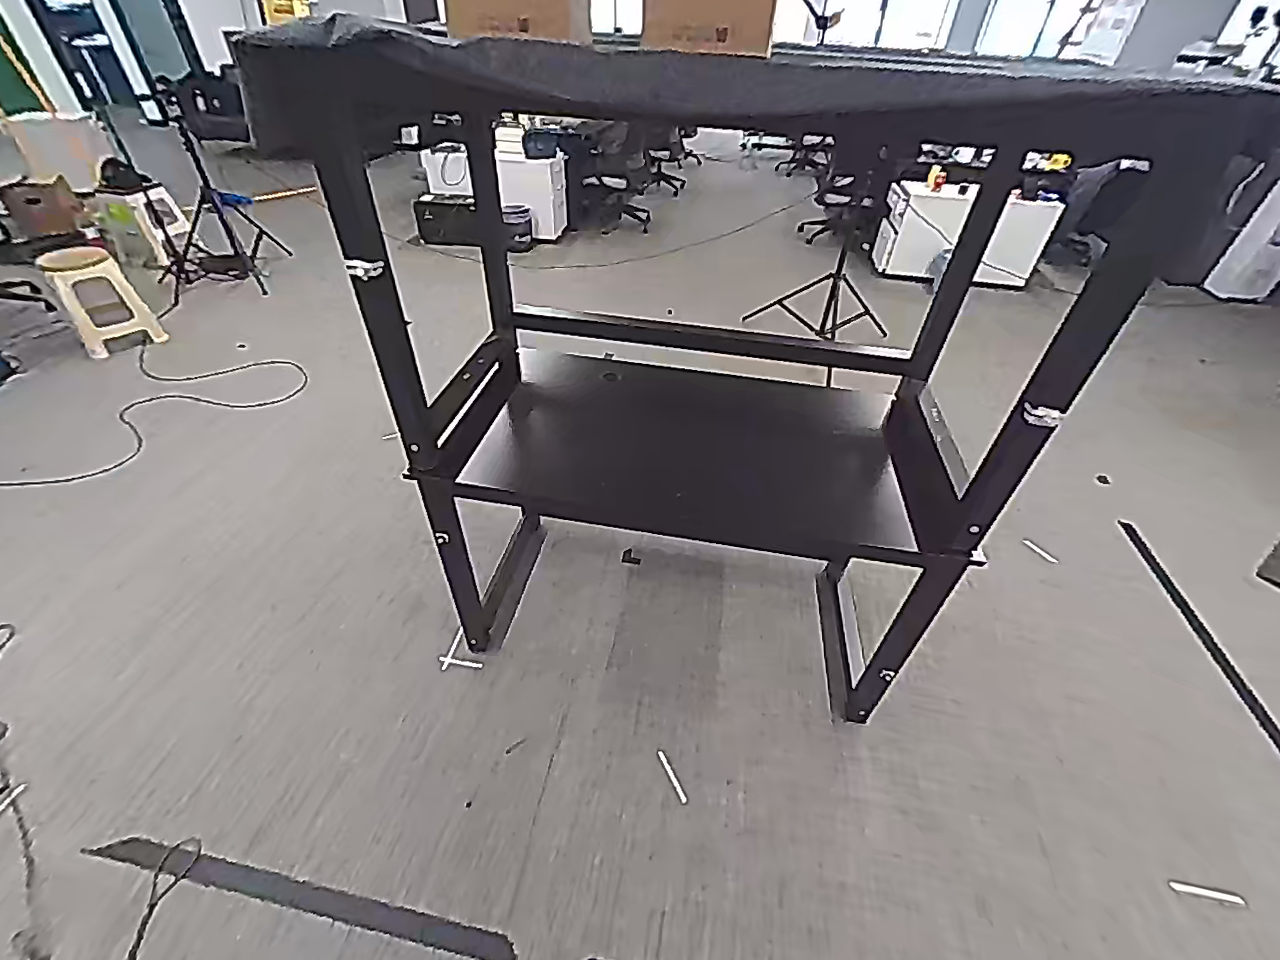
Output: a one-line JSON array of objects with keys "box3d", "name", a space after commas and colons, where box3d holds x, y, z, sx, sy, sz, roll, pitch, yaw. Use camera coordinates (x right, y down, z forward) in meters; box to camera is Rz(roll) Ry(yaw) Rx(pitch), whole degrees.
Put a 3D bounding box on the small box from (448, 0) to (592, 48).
[{"box3d": [-0.157, -0.687, 0.719, 0.168, 0.176, 0.179, 6, 40, 2], "name": "small box"}]
